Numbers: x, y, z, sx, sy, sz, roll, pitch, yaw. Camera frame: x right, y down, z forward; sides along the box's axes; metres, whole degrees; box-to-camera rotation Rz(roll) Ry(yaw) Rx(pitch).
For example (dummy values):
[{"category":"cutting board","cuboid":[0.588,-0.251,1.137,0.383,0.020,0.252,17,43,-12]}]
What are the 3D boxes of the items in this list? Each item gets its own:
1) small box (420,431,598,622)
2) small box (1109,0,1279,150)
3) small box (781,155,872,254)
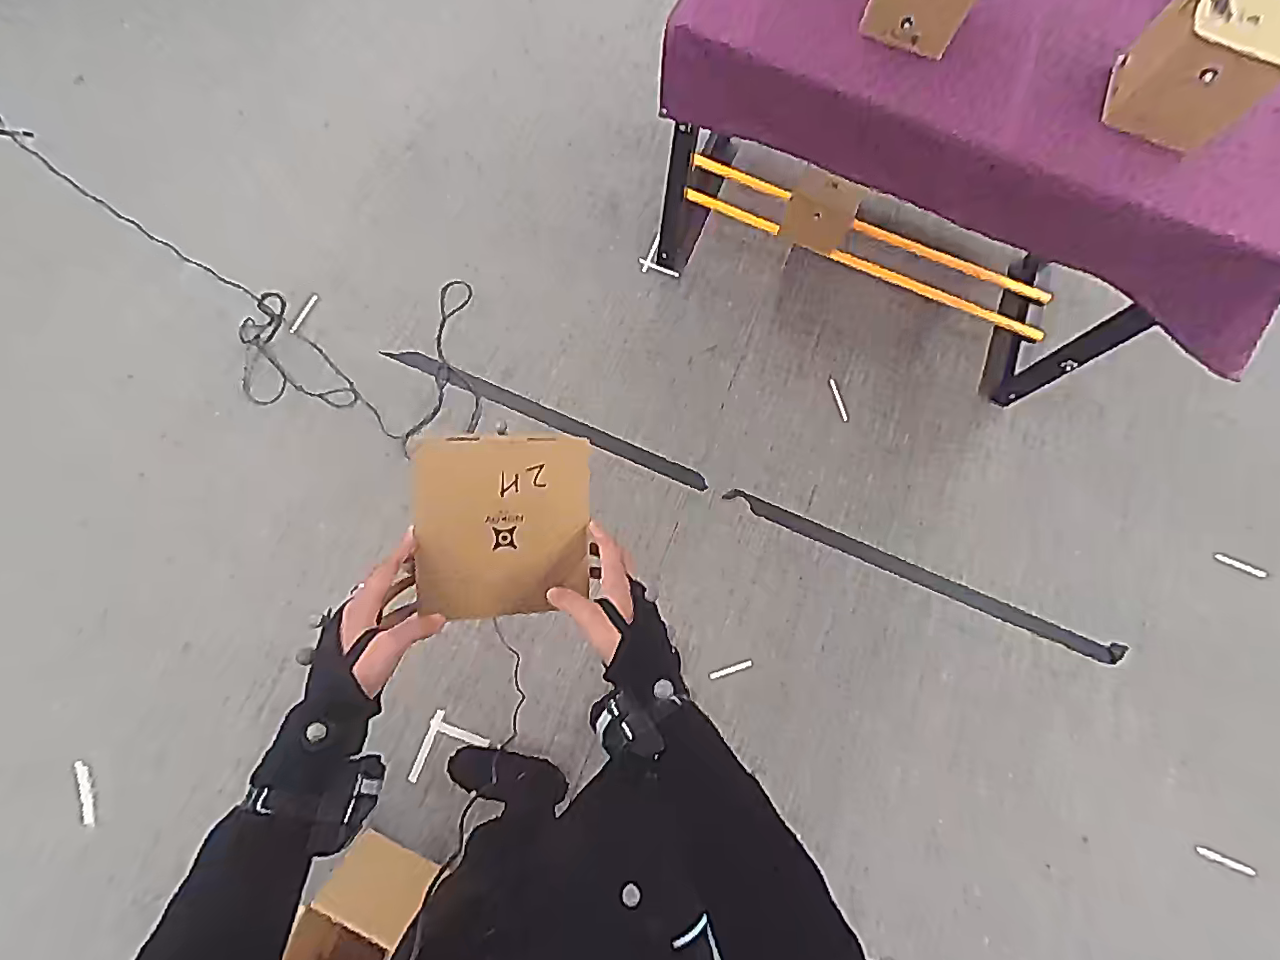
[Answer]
[{"category":"small box","cuboid":[-0.144,0.038,0.595,0.168,0.176,0.179,-1,96,-17]},{"category":"small box","cuboid":[0.987,-0.727,0.952,0.179,0.176,0.168,22,76,2]},{"category":"small box","cuboid":[0.541,-0.799,1.586,0.179,0.176,0.168,21,75,2]}]
